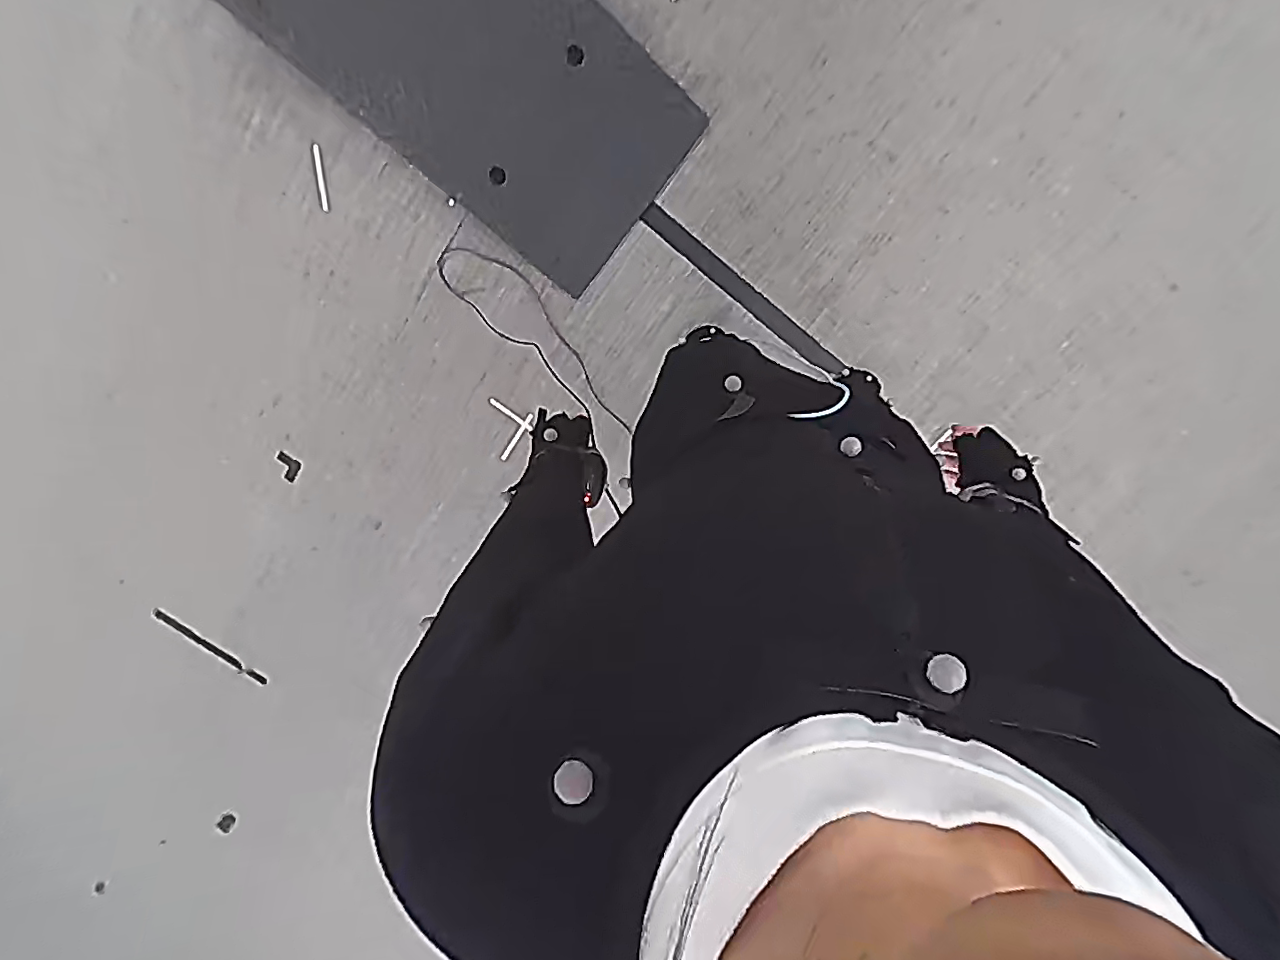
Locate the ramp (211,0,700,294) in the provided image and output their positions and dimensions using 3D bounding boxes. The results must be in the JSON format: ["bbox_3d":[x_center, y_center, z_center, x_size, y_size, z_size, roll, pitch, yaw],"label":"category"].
[{"bbox_3d":[-0.390,-0.898,1.091,0.991,0.206,0.509,37,106,-9],"label":"ramp"}]
